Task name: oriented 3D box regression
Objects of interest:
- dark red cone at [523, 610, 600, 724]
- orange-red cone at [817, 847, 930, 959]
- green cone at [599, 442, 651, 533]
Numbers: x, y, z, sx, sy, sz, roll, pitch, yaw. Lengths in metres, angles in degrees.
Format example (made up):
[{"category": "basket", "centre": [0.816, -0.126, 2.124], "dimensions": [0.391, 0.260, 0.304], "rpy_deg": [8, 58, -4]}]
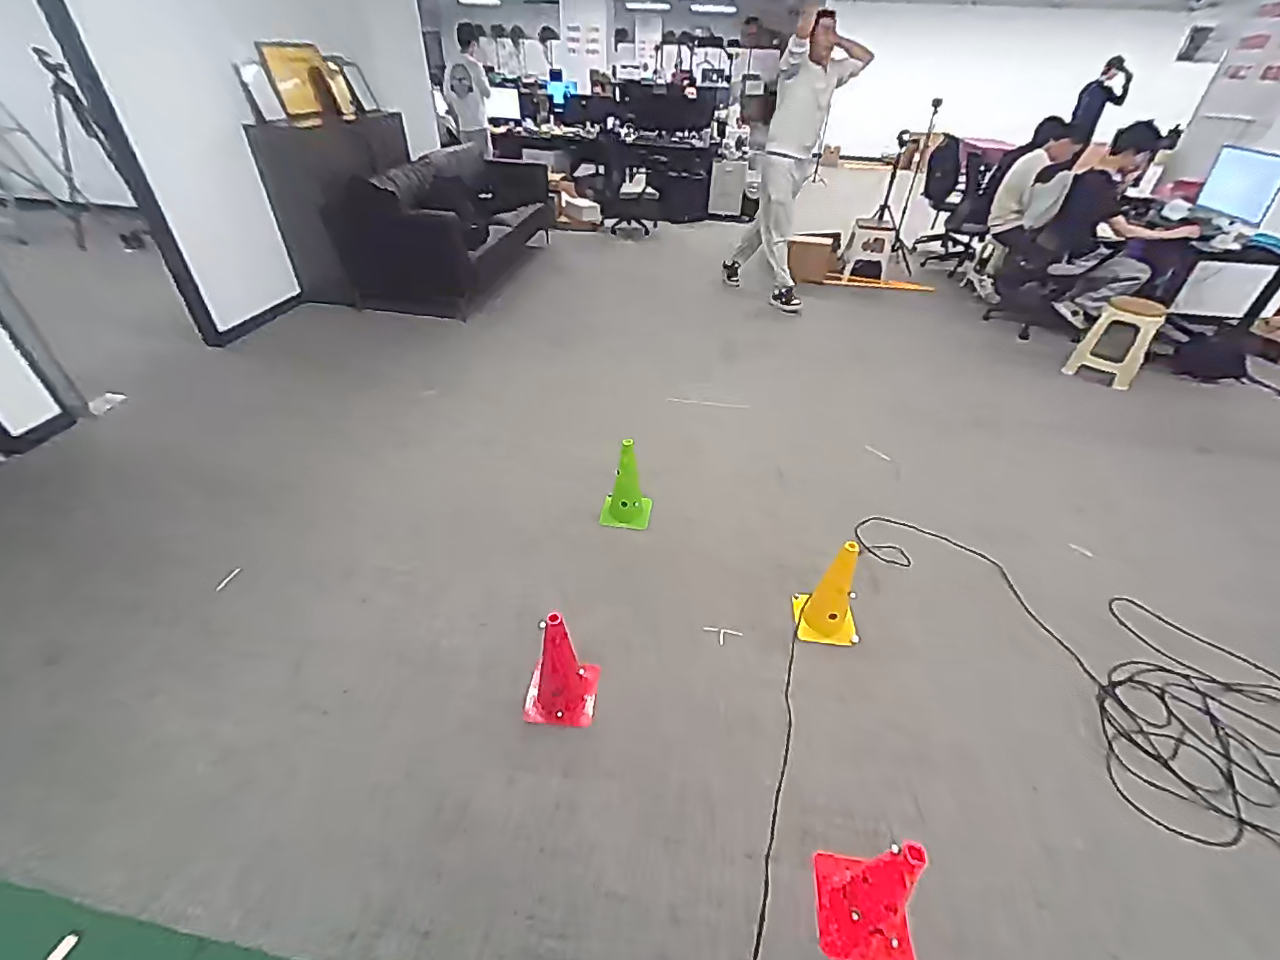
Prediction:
[{"category": "dark red cone", "centre": [-0.221, 0.492, 1.488], "dimensions": [0.202, 0.394, 0.201], "rpy_deg": [4, 39, 2]}, {"category": "orange-red cone", "centre": [0.510, 0.839, 1.109], "dimensions": [0.198, 0.360, 0.199], "rpy_deg": [8, 37, 6]}, {"category": "green cone", "centre": [-0.050, 0.009, 2.164], "dimensions": [0.202, 0.368, 0.200], "rpy_deg": [7, 38, 4]}]
